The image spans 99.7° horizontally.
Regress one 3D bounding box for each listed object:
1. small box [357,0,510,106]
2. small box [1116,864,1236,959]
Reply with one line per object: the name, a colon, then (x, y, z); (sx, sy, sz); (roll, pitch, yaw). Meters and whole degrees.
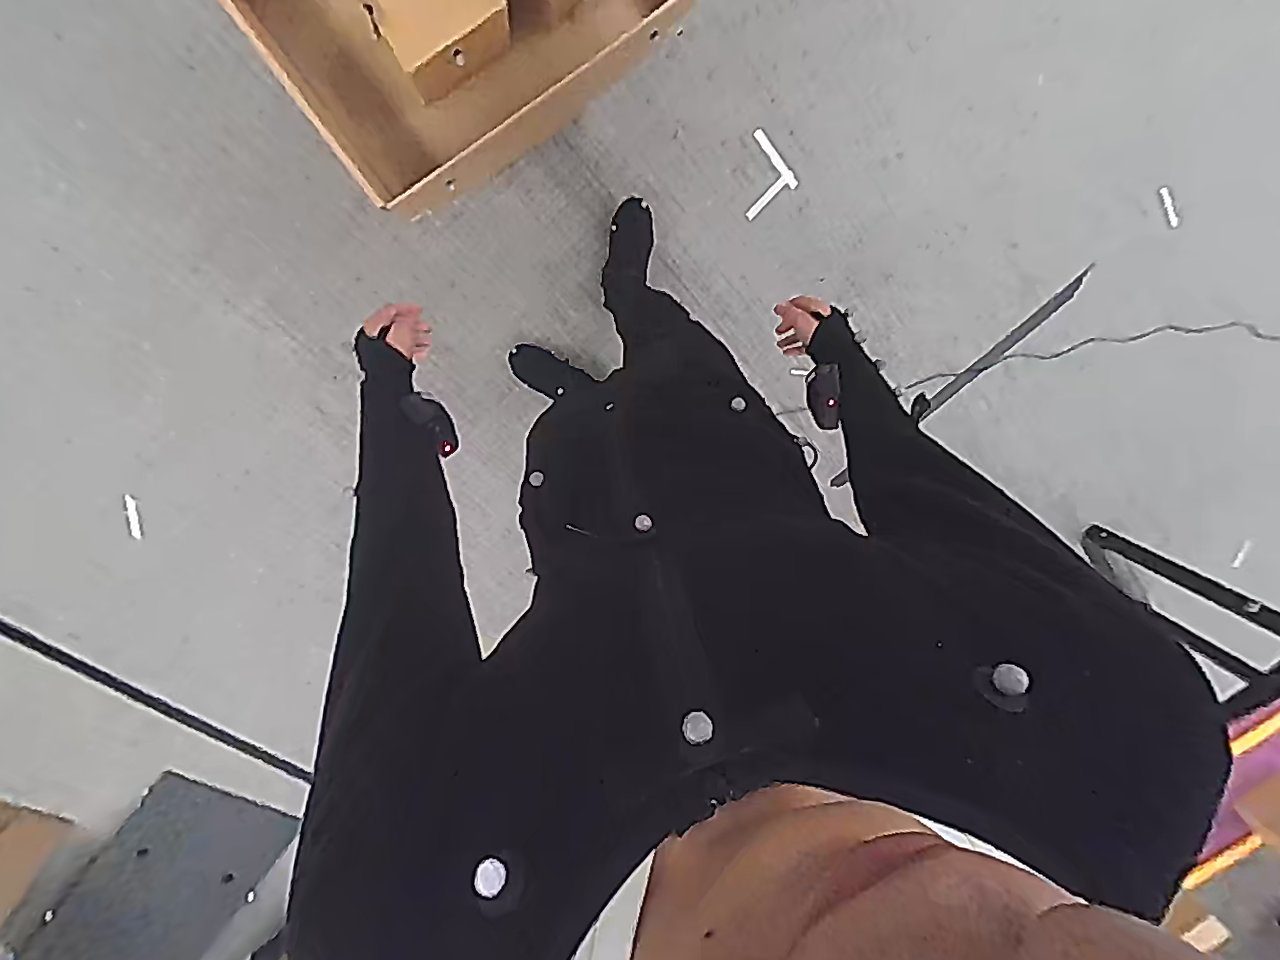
small box: (-0.310, -0.702, 0.800); (0.179, 0.176, 0.168); (-33, 112, 3)
small box: (1.552, 1.280, 1.581); (0.179, 0.176, 0.168); (-45, 111, 8)
